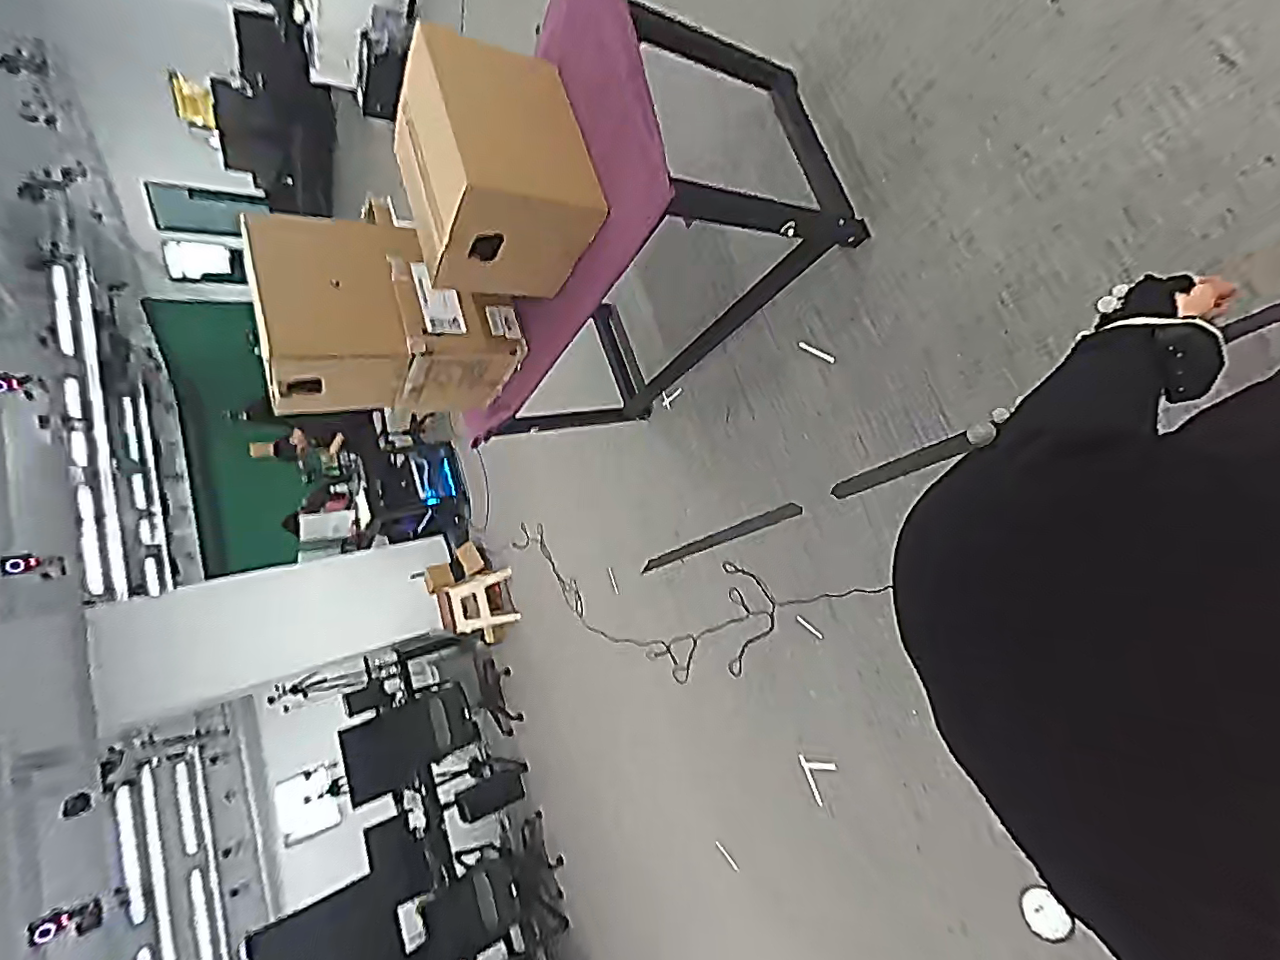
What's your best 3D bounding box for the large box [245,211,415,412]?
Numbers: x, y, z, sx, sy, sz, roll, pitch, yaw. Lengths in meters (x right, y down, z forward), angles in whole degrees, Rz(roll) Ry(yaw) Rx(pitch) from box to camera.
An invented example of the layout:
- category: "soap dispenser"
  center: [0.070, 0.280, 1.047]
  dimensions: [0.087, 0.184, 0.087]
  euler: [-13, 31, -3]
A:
- category: "large box"
  center: [-0.835, -0.441, 1.461]
  dimensions: [0.320, 0.320, 0.408]
  euler: [-36, 70, 54]
